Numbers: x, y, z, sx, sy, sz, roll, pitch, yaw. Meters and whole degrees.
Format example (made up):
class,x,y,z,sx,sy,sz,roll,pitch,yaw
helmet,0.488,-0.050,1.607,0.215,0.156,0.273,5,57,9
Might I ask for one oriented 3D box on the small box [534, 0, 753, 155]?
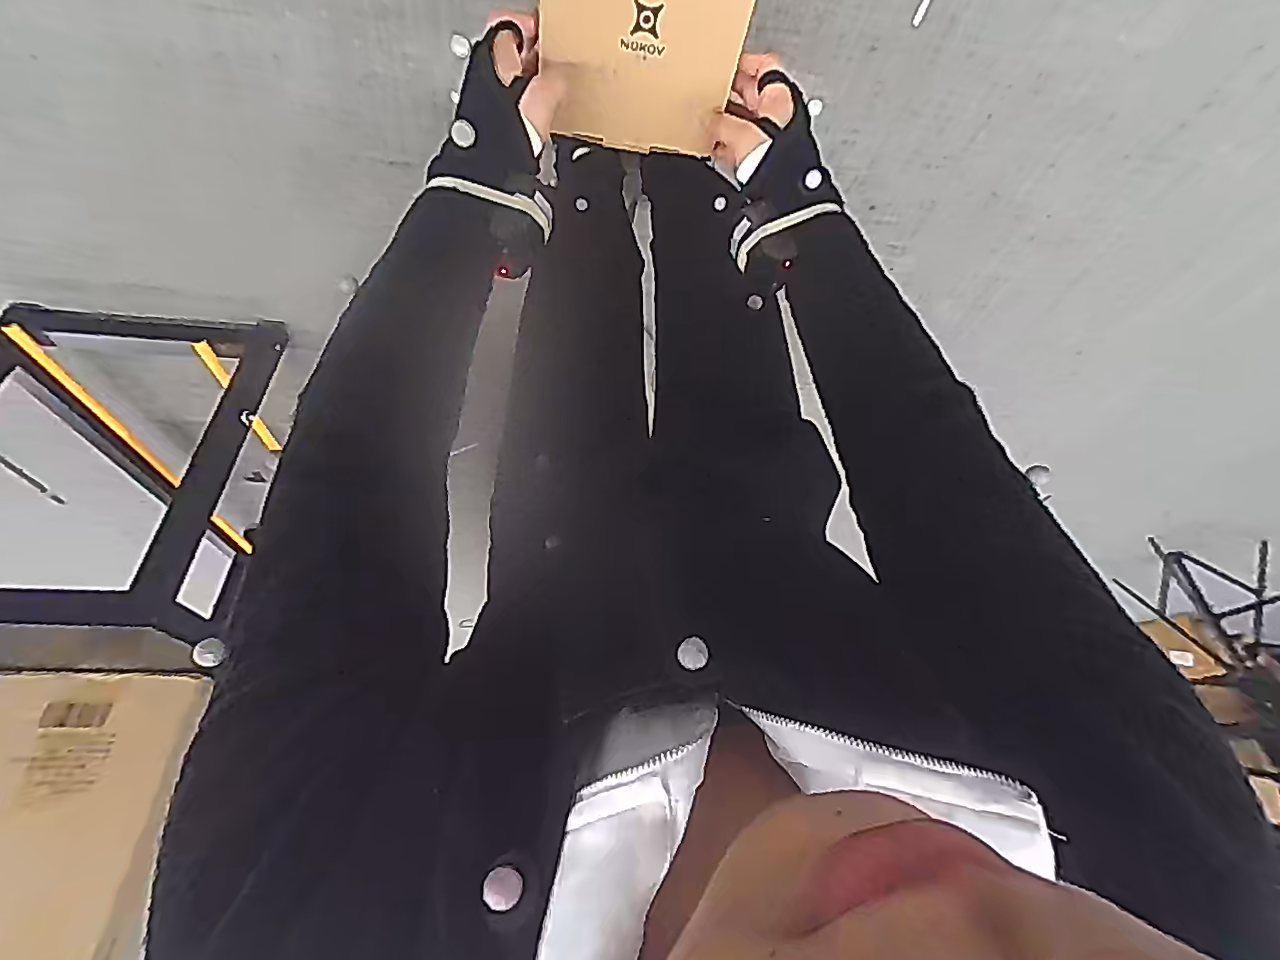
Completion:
class,x,y,z,sx,sy,sz,roll,pitch,yaw
small box,-0.002,-0.426,0.468,0.168,0.176,0.179,2,149,-11
